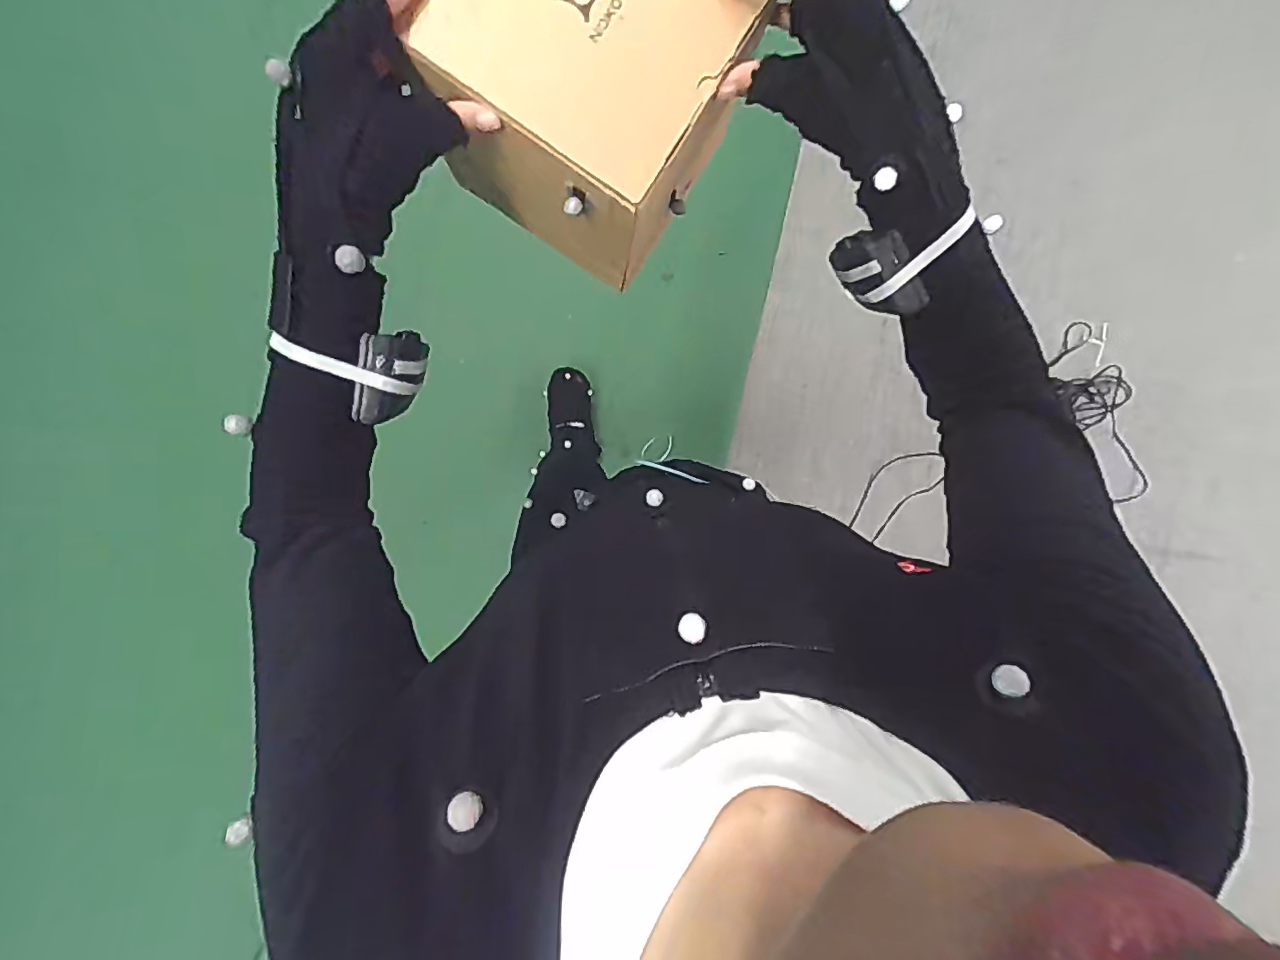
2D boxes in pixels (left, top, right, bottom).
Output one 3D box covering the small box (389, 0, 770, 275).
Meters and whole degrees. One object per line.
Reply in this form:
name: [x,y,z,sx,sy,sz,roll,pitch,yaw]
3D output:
small box: [-0.040,-0.285,0.402,0.179,0.176,0.168,32,89,-7]
